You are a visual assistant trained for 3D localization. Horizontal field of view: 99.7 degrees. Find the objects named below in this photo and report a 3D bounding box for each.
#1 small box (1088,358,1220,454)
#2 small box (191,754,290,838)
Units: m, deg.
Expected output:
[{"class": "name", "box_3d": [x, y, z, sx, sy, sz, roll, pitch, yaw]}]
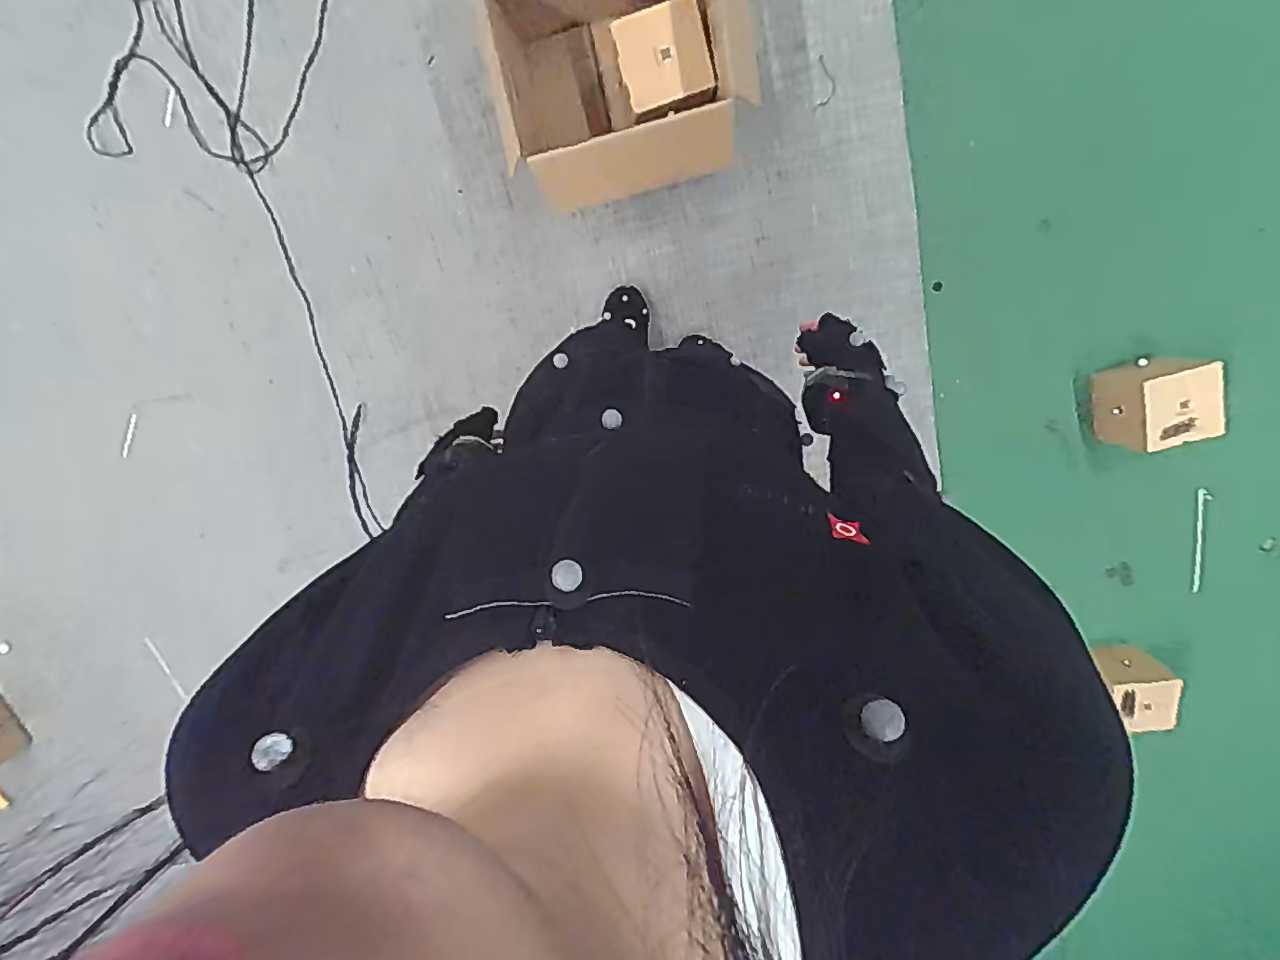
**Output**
[{"class": "small box", "box_3d": [1.232, -0.183, 1.307, 0.168, 0.176, 0.179, -16, 105, 8]}, {"class": "small box", "box_3d": [-1.347, 1.067, 1.834, 0.179, 0.176, 0.168, -15, 107, 7]}]
